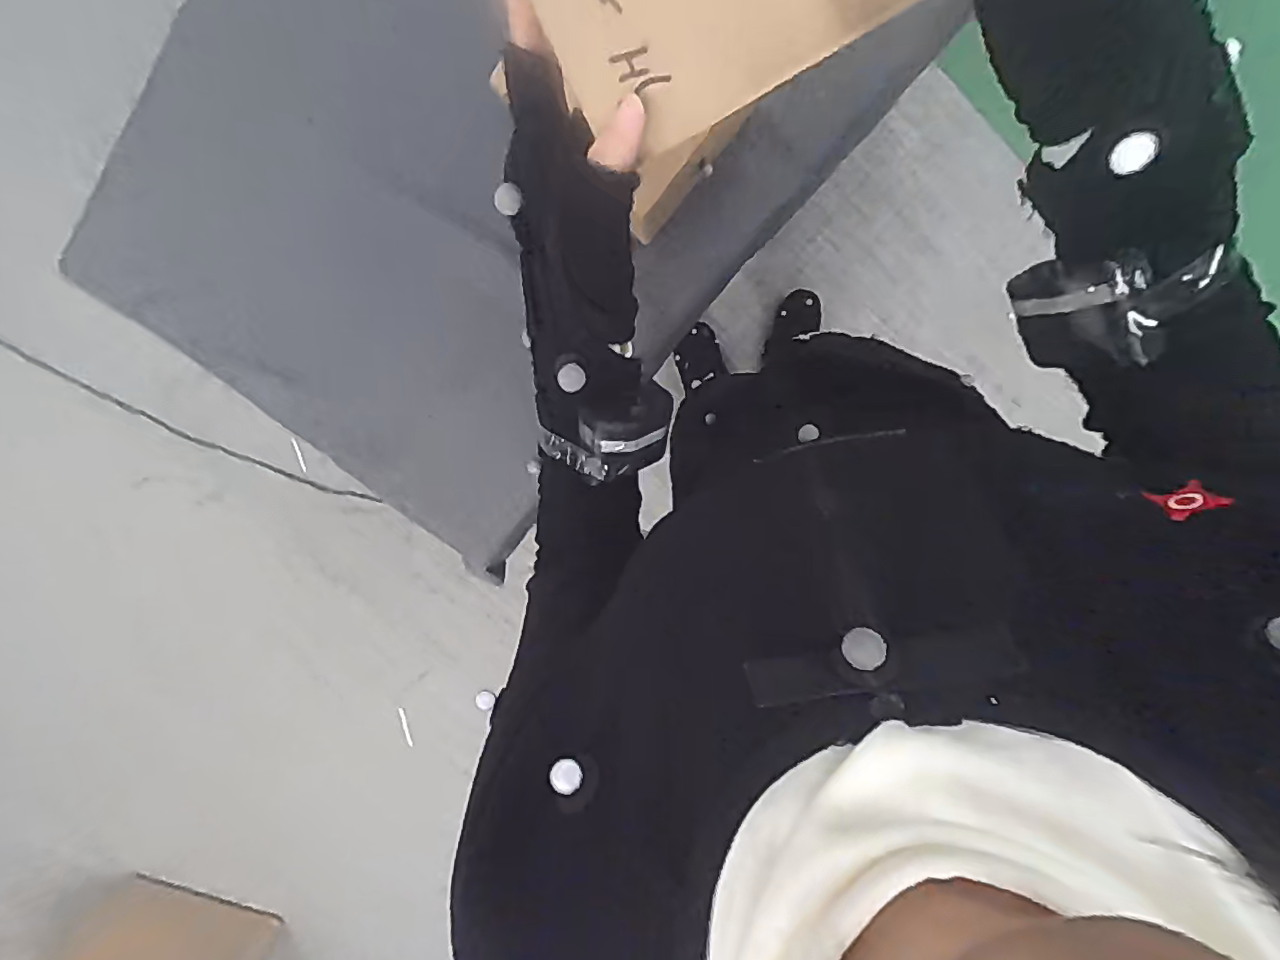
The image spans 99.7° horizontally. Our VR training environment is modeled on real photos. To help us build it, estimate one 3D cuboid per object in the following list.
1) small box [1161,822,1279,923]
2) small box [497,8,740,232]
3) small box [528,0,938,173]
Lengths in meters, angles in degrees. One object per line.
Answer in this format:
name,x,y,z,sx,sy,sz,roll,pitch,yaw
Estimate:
small box,1.848,1.258,1.739,0.168,0.176,0.179,39,103,-11
small box,-0.002,-0.366,0.506,0.168,0.176,0.179,36,103,-9
small box,0.026,-0.276,0.241,0.179,0.176,0.168,-21,127,14
